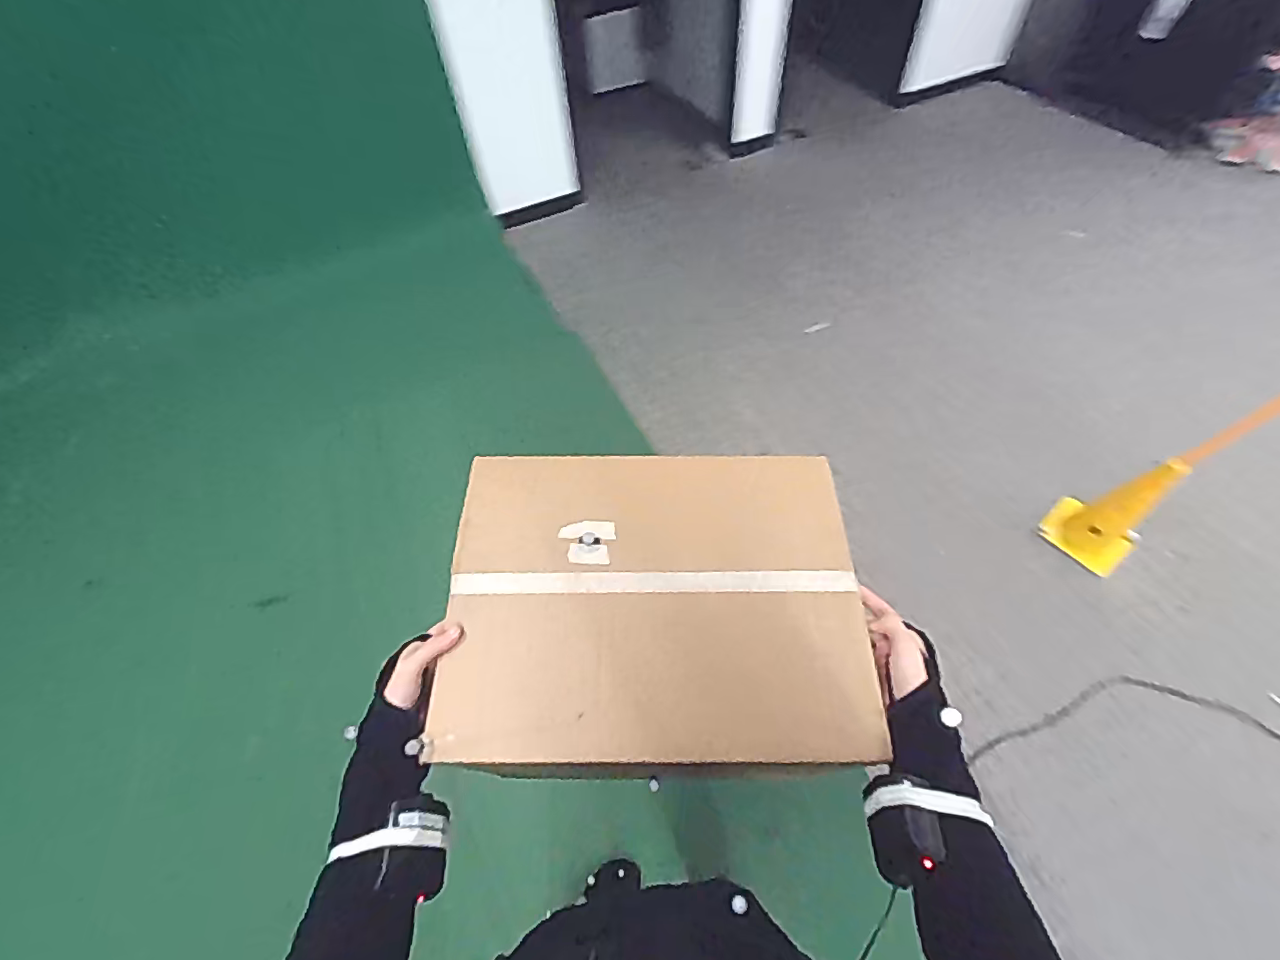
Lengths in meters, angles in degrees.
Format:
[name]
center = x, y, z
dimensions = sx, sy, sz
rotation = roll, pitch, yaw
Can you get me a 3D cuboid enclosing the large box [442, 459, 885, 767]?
[large box]
center = 0.025, 0.184, 0.682
dimensions = 0.408, 0.320, 0.320
rotation = 0, 58, 2
